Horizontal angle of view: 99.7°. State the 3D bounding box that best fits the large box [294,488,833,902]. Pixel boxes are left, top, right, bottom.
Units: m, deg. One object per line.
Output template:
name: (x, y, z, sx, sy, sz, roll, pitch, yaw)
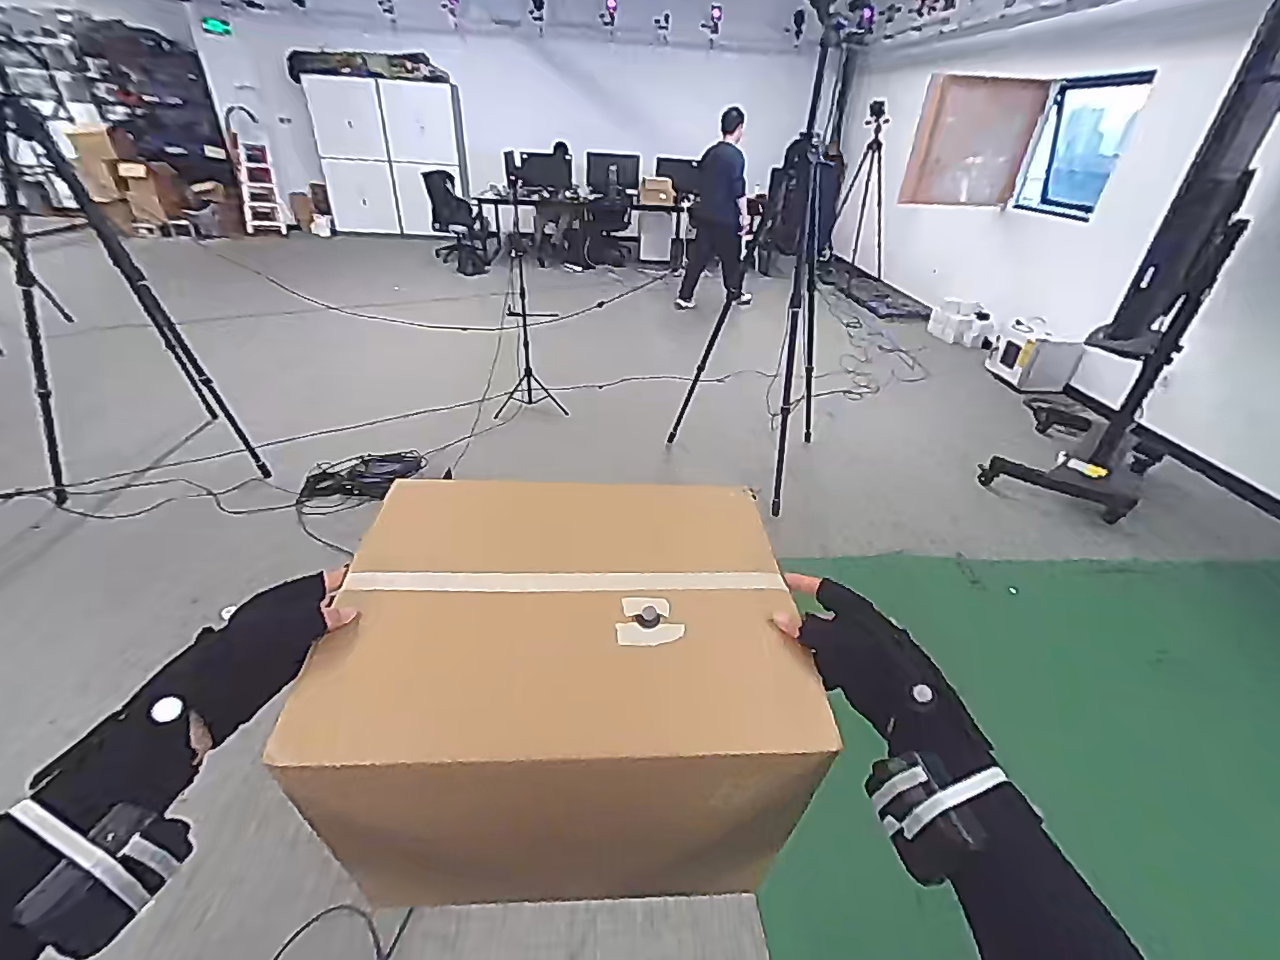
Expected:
large box: (-0.069, 0.224, 0.600, 0.408, 0.320, 0.320, 2, 37, -5)
